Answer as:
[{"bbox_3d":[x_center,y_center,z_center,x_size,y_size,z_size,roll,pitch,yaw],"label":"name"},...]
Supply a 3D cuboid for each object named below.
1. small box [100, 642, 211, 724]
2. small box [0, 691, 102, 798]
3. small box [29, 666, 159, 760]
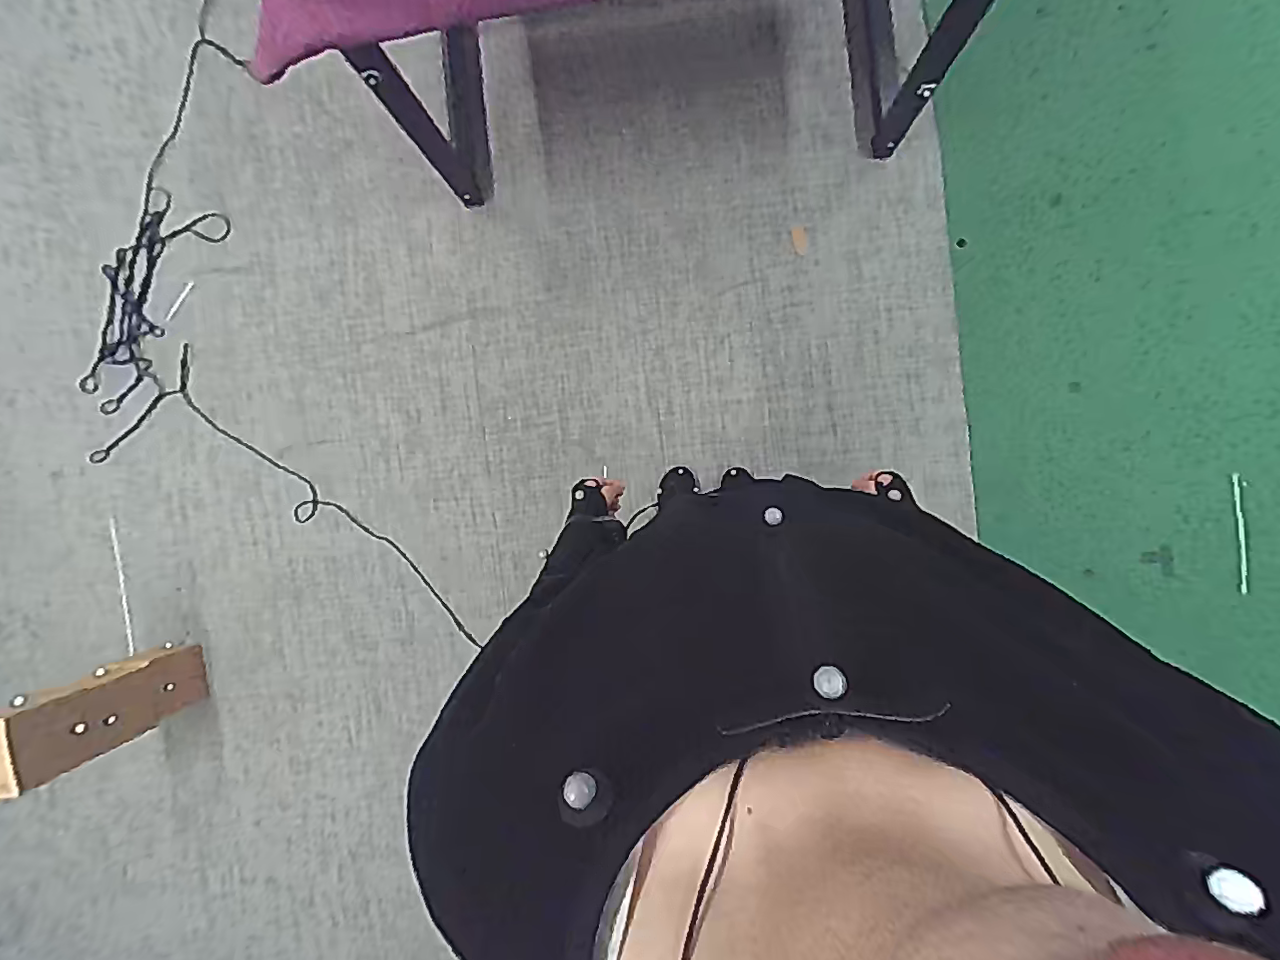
[{"bbox_3d":[-1.392,0.590,1.566,0.168,0.176,0.179,-8,90,4],"label":"small box"},{"bbox_3d":[-1.402,0.601,1.239,0.168,0.176,0.179,-10,90,5],"label":"small box"},{"bbox_3d":[-1.404,0.604,1.403,0.168,0.176,0.179,-8,91,4],"label":"small box"}]
